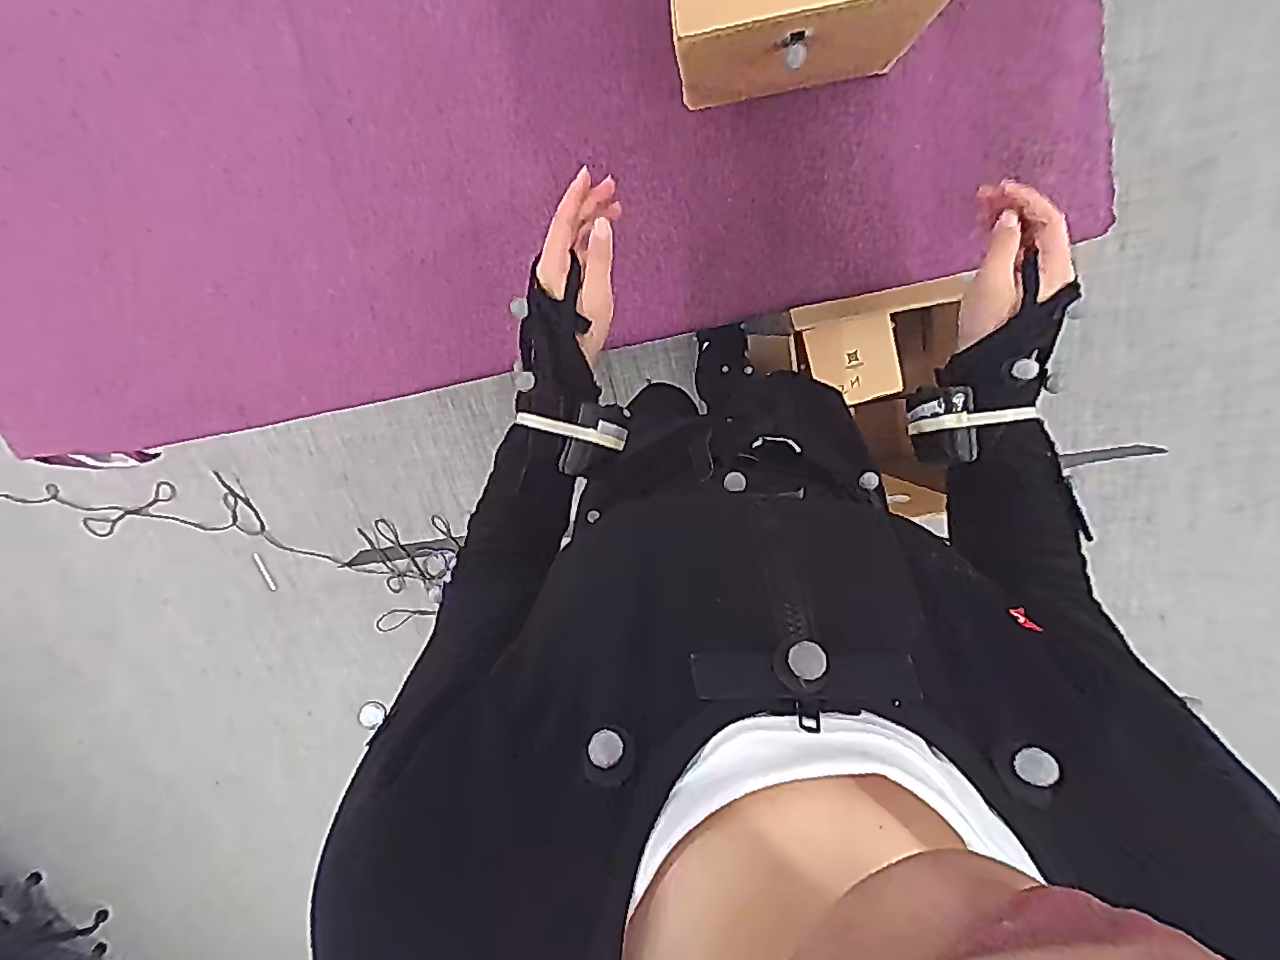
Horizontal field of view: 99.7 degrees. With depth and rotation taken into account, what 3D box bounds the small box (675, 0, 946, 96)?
[{"bbox_3d":[0.110,-0.393,0.371,0.179,0.176,0.168,-4,111,10],"label":"small box"}]
